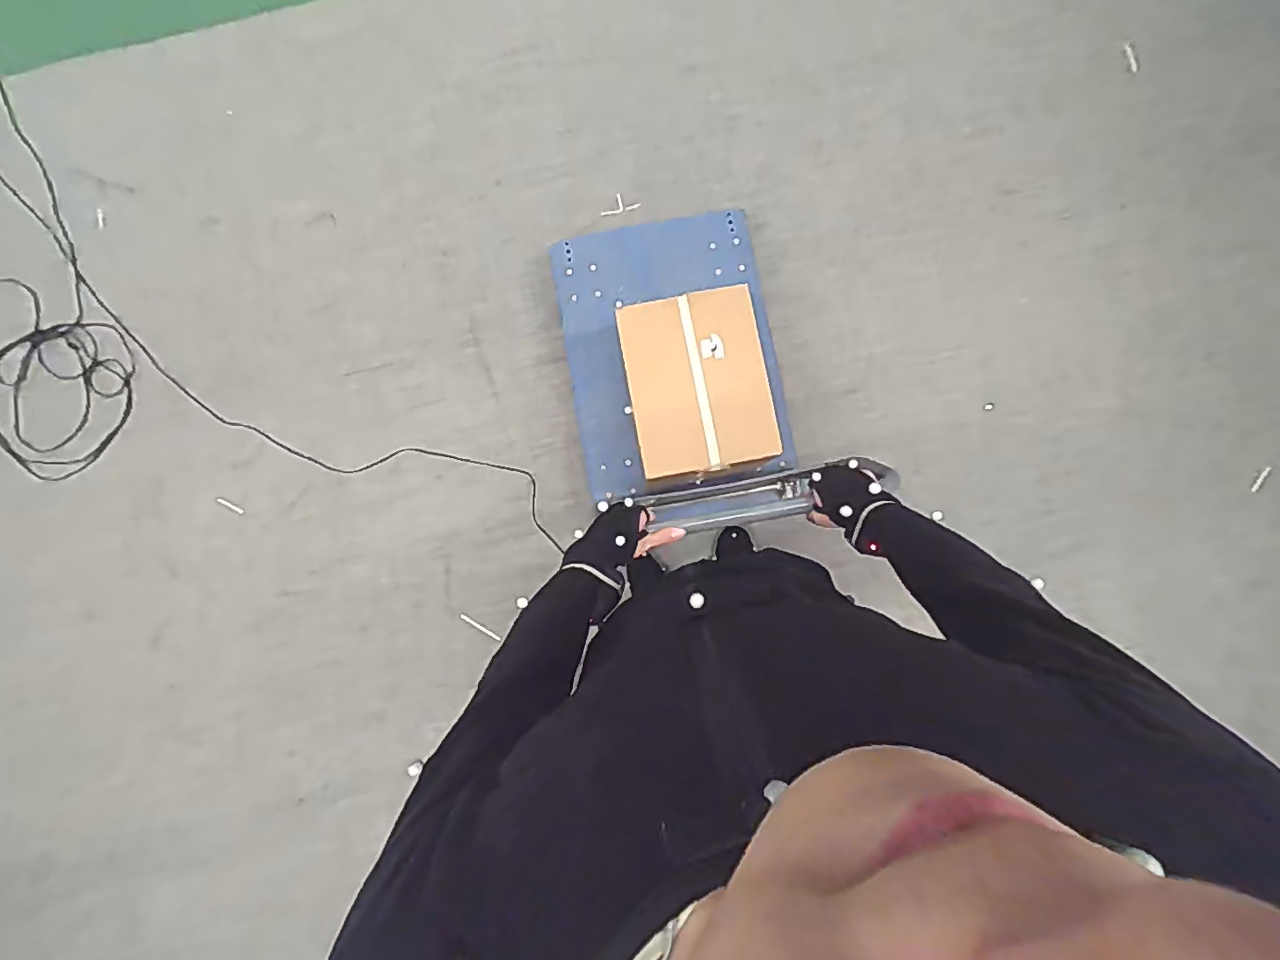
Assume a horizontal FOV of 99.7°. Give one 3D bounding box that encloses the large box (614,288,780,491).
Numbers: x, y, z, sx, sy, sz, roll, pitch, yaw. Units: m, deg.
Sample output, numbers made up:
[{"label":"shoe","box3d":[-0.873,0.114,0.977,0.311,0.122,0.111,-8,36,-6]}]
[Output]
[{"label":"large box","box3d":[0.133,-0.207,1.376,0.320,0.320,0.408,-10,83,0]}]
